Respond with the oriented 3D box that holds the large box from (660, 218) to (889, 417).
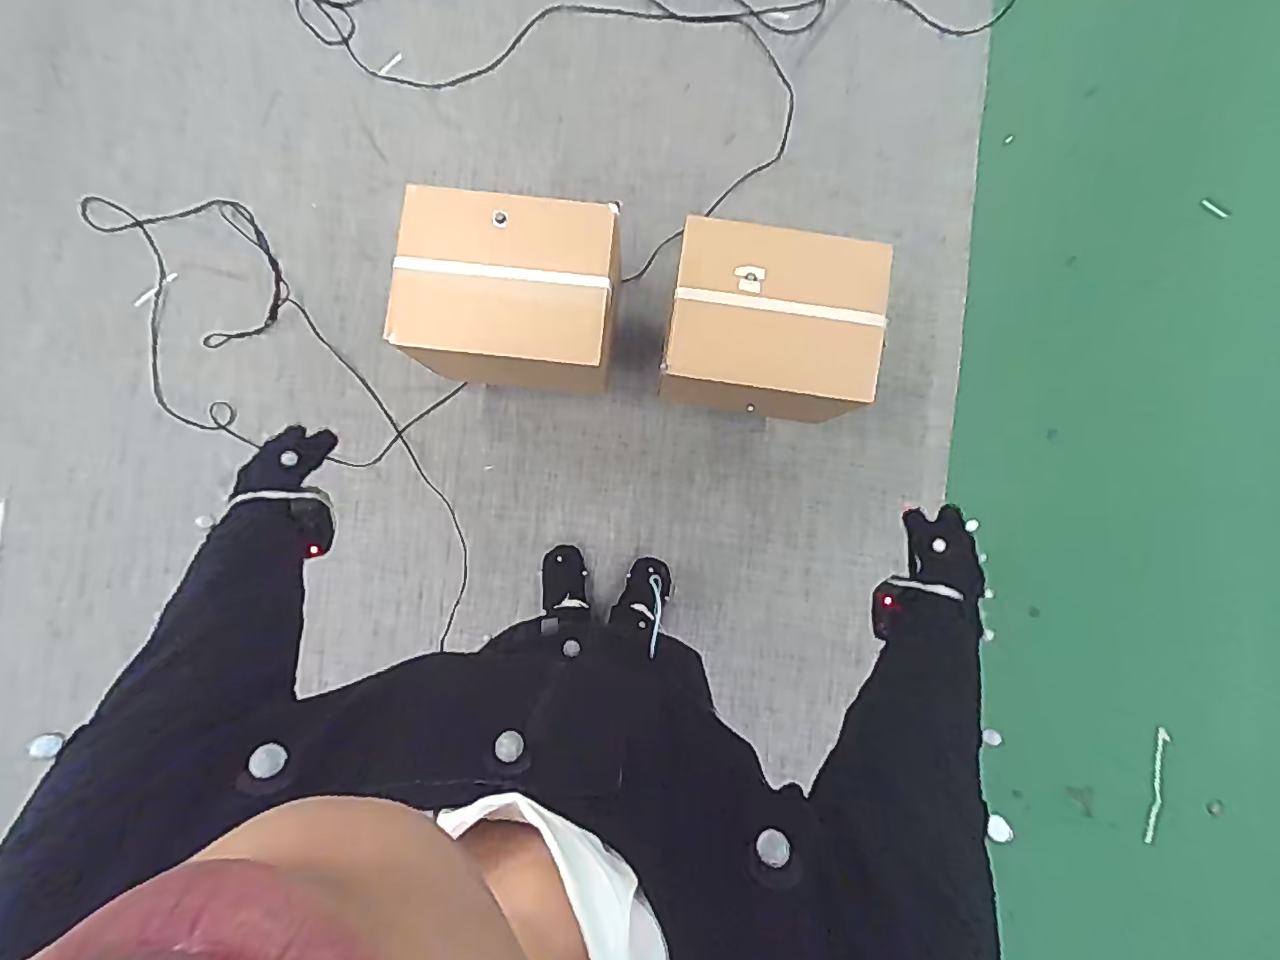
[{"bbox_3d":[0.268,-0.328,1.189,0.408,0.320,0.320,9,88,0],"label":"large box"}]
